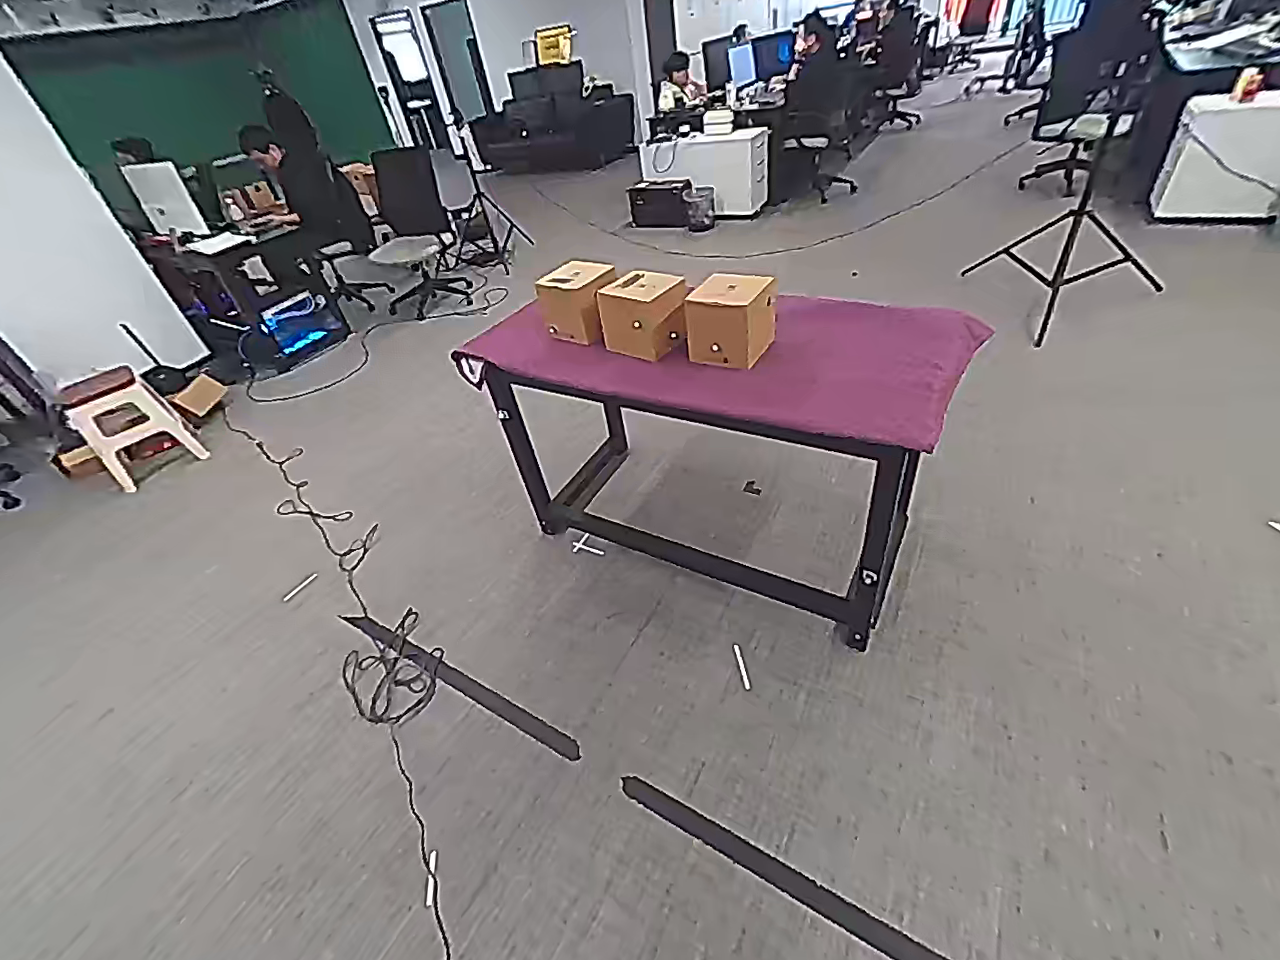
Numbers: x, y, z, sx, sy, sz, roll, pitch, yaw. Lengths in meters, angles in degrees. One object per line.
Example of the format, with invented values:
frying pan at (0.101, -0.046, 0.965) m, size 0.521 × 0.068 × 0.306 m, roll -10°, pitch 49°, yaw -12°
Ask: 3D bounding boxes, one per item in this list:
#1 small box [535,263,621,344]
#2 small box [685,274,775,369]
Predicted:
small box at (-0.174, -0.521, 1.595) m, size 0.168 × 0.176 × 0.179 m, roll 21°, pitch 49°, yaw 31°
small box at (0.229, -0.402, 1.367) m, size 0.168 × 0.176 × 0.179 m, roll 16°, pitch 46°, yaw 29°
